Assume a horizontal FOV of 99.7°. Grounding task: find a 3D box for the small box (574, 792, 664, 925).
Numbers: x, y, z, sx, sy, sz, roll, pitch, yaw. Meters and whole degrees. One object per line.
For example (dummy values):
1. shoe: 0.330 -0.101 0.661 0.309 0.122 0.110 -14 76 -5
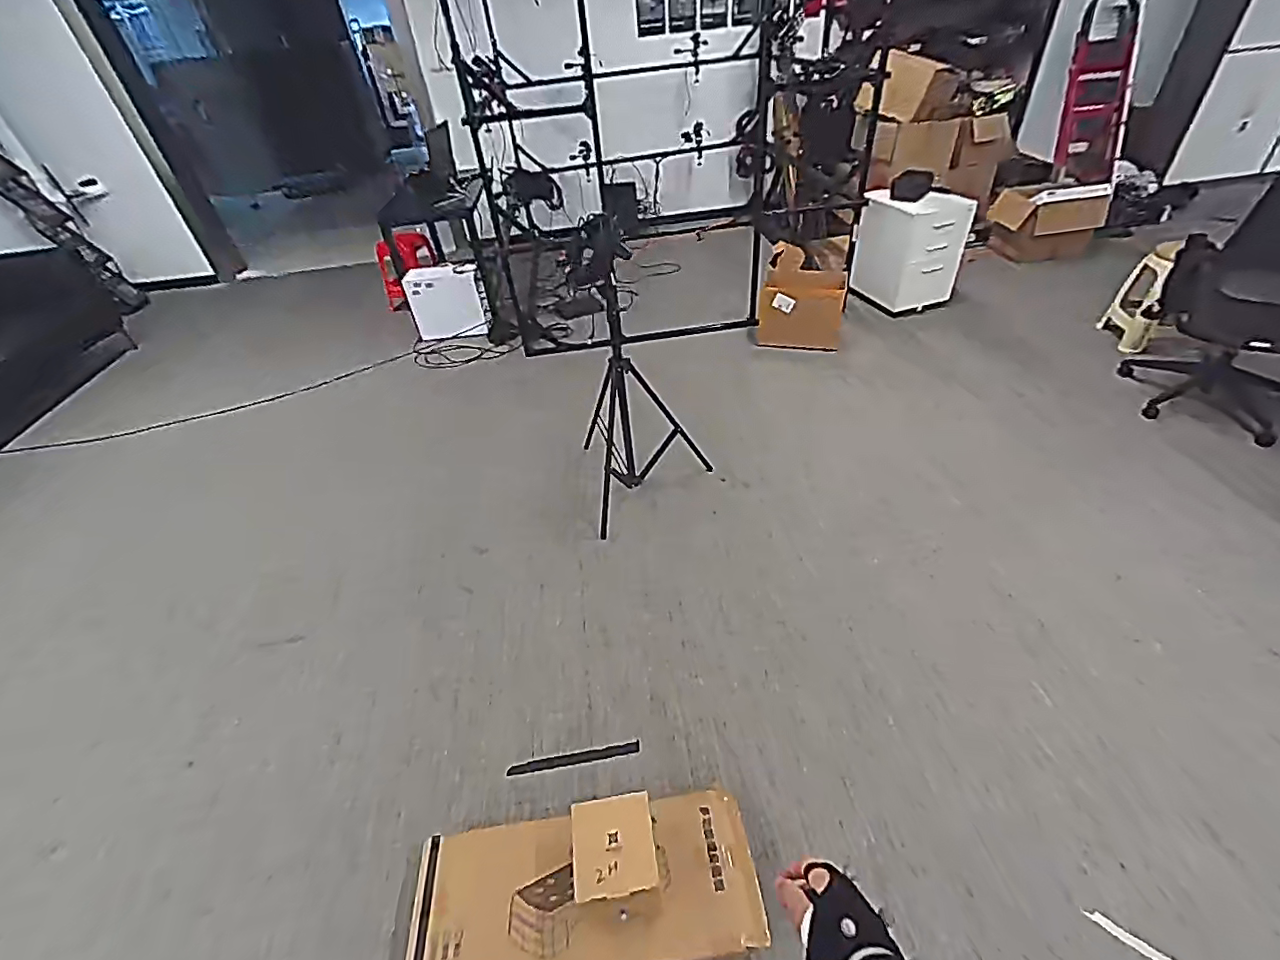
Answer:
1. small box: -0.045 0.792 1.134 0.168 0.176 0.179 -9 40 -3
